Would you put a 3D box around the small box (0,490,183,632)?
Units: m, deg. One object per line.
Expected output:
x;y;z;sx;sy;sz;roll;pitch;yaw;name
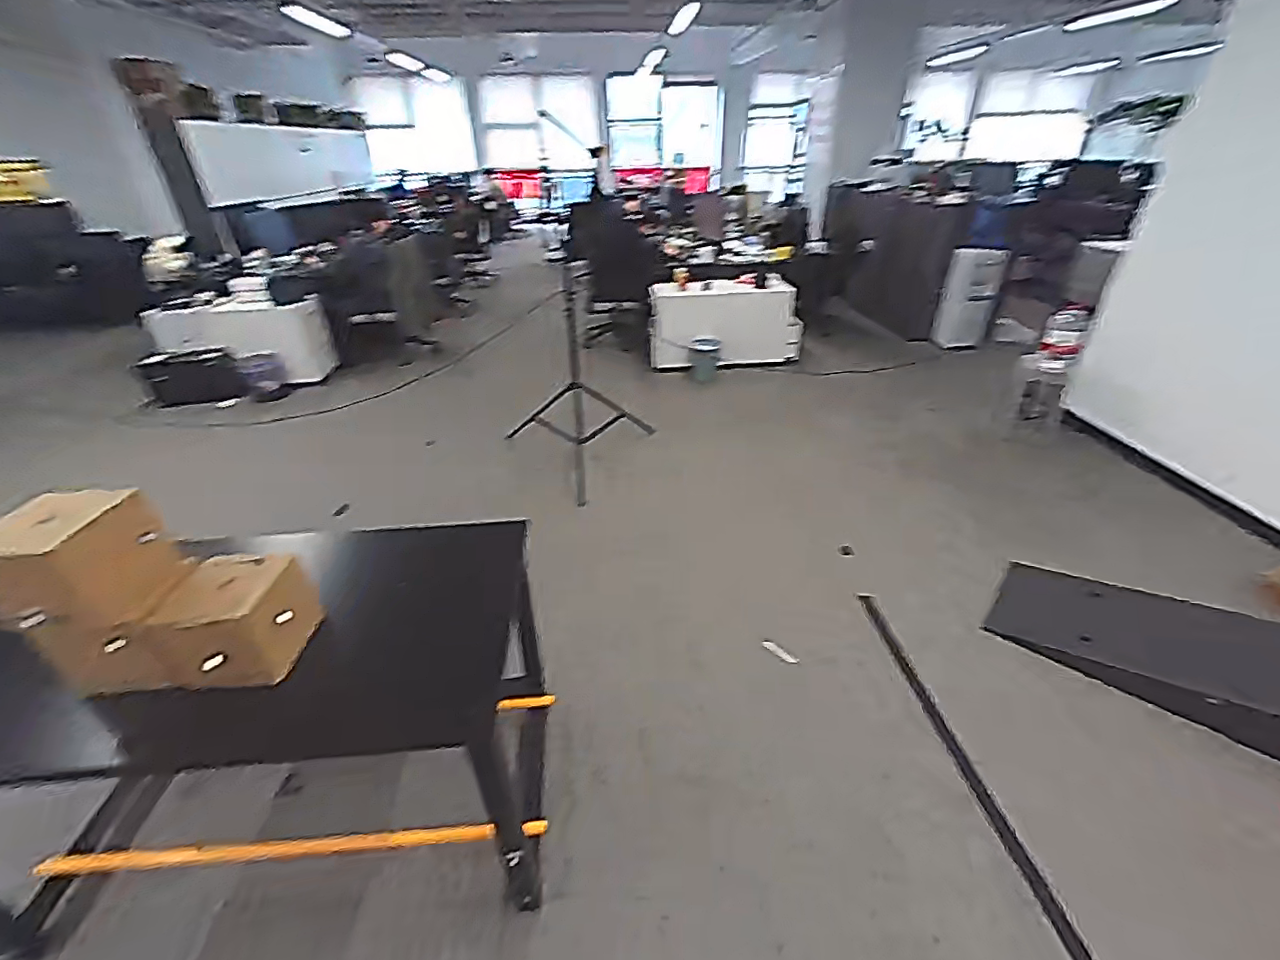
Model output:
-0.935;0.134;0.918;0.168;0.176;0.179;-3;33;0;small box
